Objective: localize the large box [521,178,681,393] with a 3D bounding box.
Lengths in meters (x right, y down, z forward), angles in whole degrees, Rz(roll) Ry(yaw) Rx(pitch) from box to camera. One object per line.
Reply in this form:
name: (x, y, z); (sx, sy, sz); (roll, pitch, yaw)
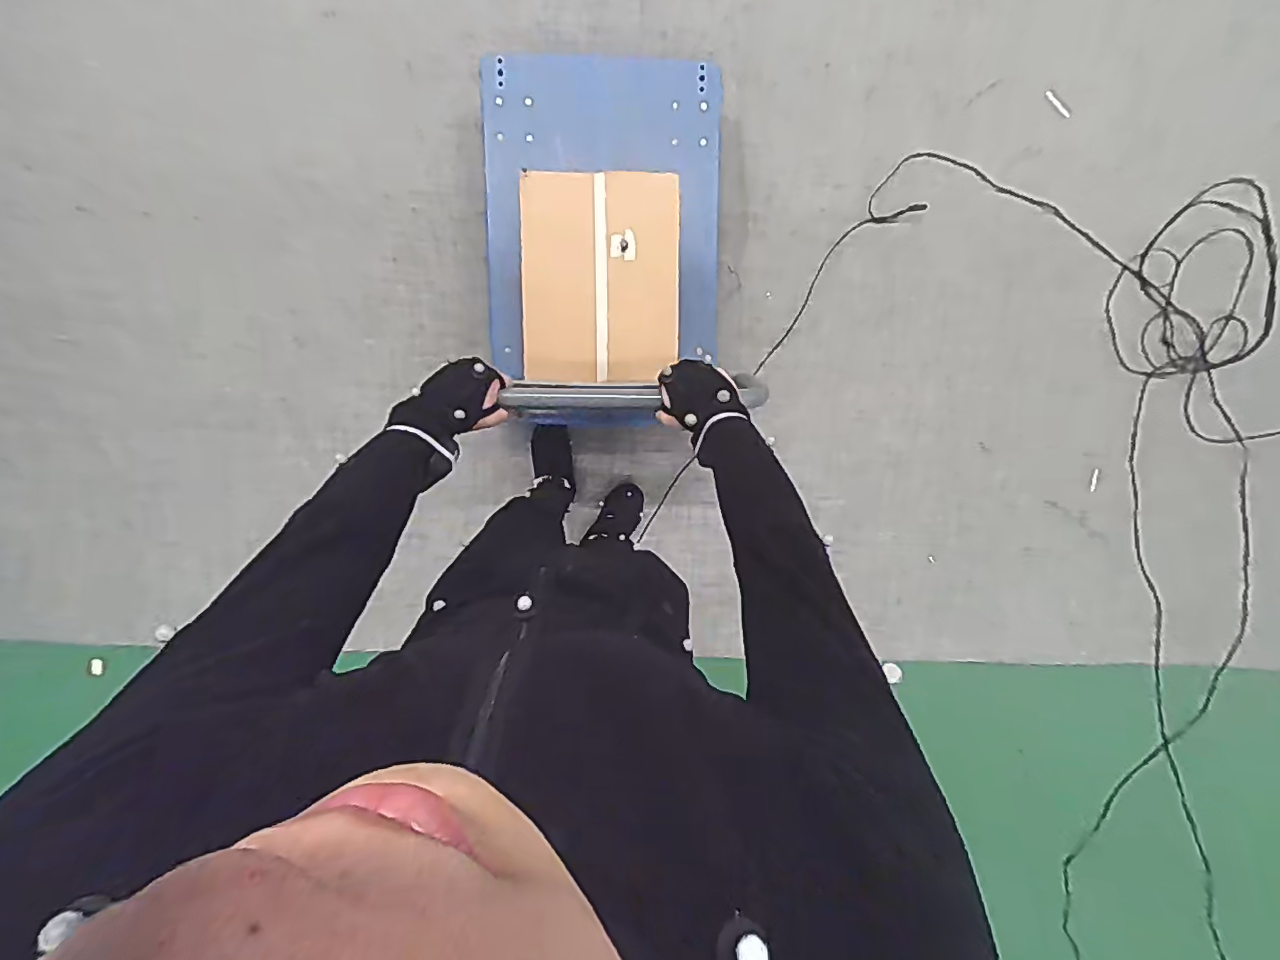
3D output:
large box: (-0.079, -0.405, 1.220); (0.320, 0.320, 0.408); (0, 97, -3)
